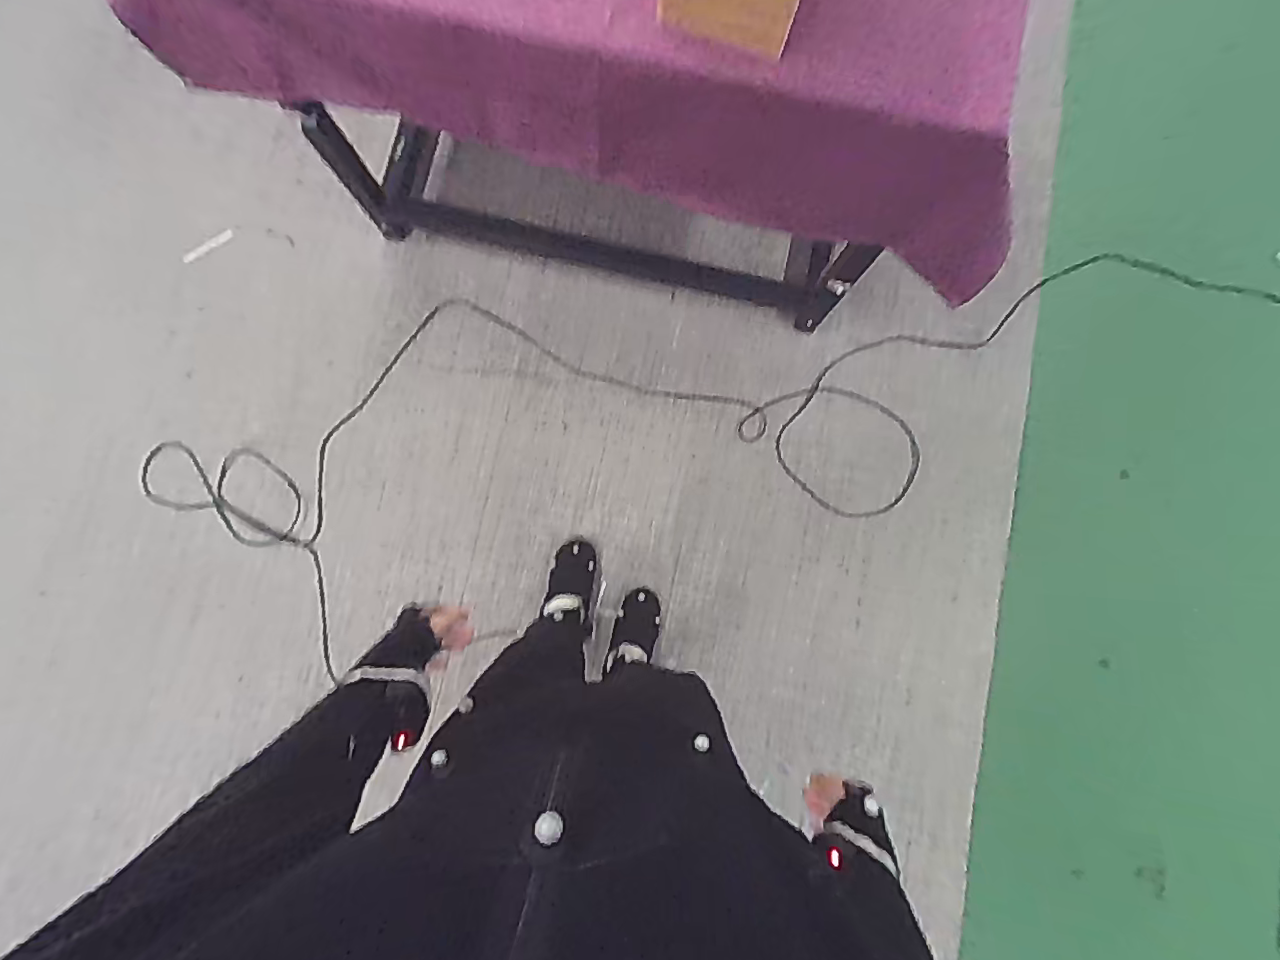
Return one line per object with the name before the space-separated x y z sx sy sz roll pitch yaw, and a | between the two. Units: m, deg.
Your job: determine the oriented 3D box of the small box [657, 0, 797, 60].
small box | 0.127 -0.678 0.672 0.179 0.176 0.168 19 82 1
